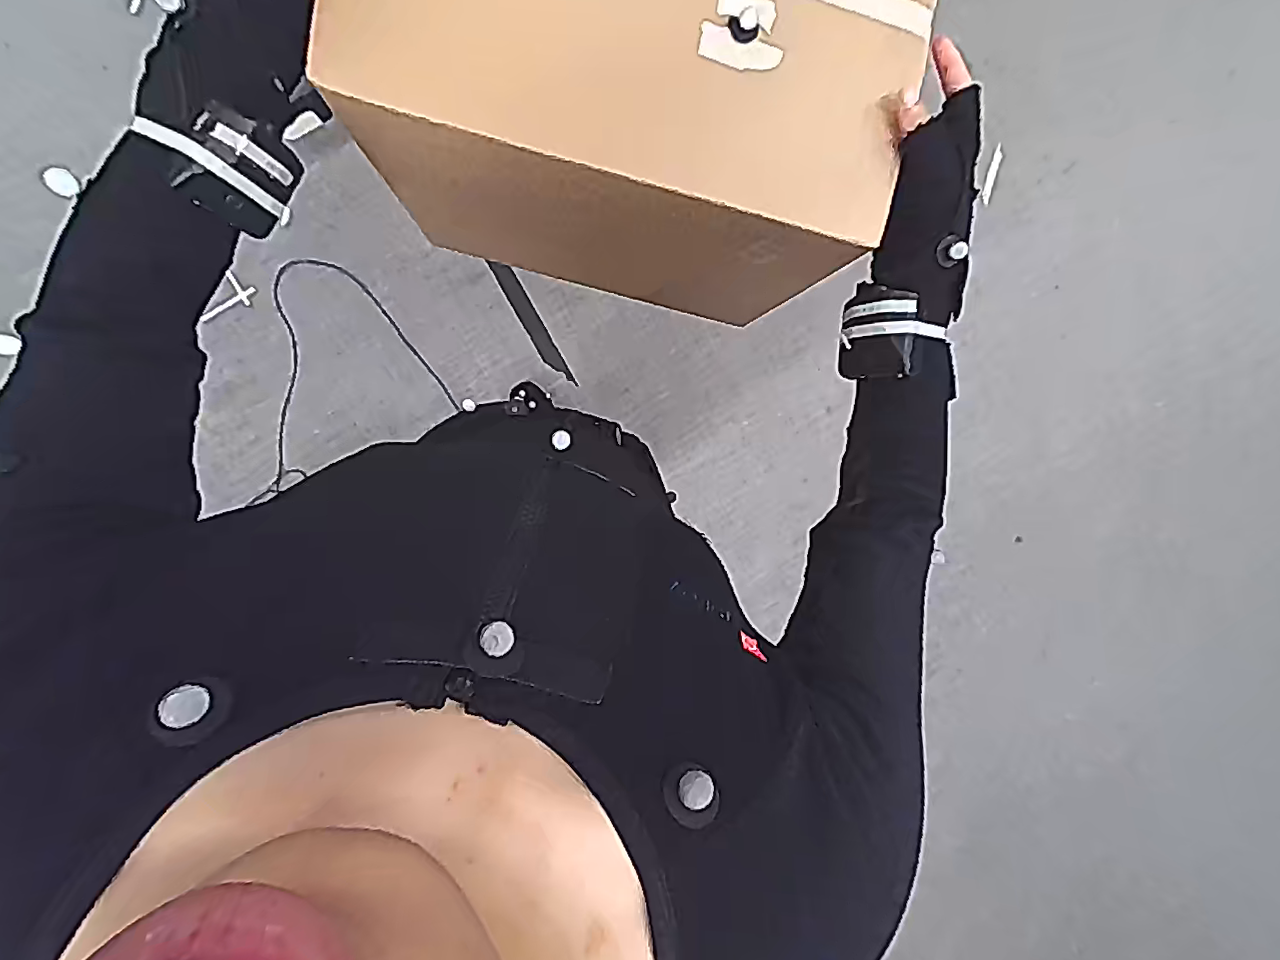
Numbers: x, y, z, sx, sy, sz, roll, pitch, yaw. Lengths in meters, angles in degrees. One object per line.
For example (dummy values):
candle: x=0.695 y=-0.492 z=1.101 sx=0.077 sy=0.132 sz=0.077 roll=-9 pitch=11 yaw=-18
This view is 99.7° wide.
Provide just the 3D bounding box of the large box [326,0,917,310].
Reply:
large box: x=-0.011 y=-0.390 z=0.523 sx=0.408 sy=0.320 sz=0.320 roll=11 pitch=94 yaw=-9
